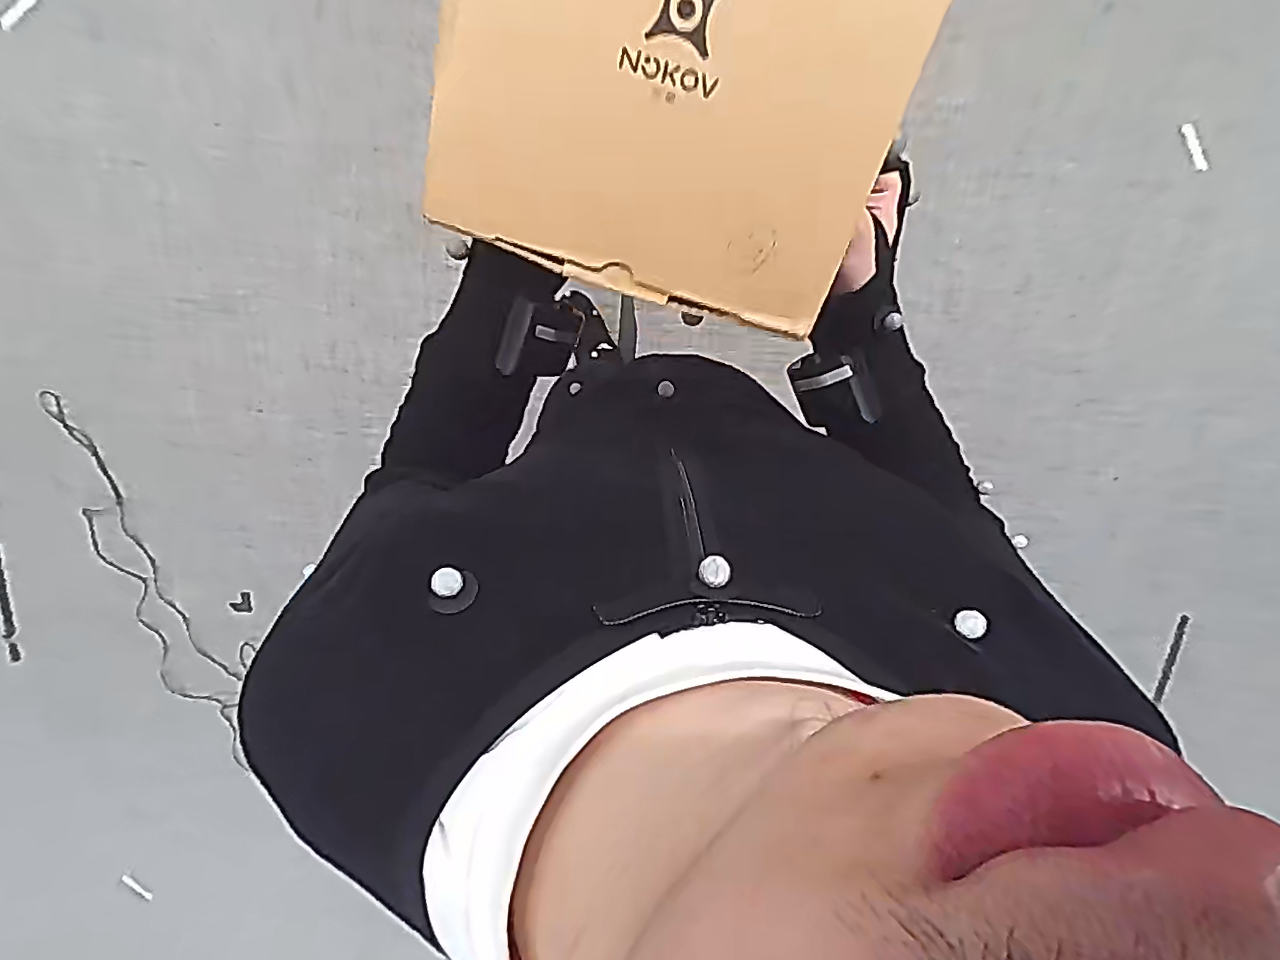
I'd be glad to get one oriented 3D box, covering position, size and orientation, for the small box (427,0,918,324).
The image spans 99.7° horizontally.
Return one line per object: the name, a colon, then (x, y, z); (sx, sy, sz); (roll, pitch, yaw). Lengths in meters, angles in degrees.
small box: (0.018, -0.194, 0.268); (0.168, 0.176, 0.179); (16, 112, -2)
